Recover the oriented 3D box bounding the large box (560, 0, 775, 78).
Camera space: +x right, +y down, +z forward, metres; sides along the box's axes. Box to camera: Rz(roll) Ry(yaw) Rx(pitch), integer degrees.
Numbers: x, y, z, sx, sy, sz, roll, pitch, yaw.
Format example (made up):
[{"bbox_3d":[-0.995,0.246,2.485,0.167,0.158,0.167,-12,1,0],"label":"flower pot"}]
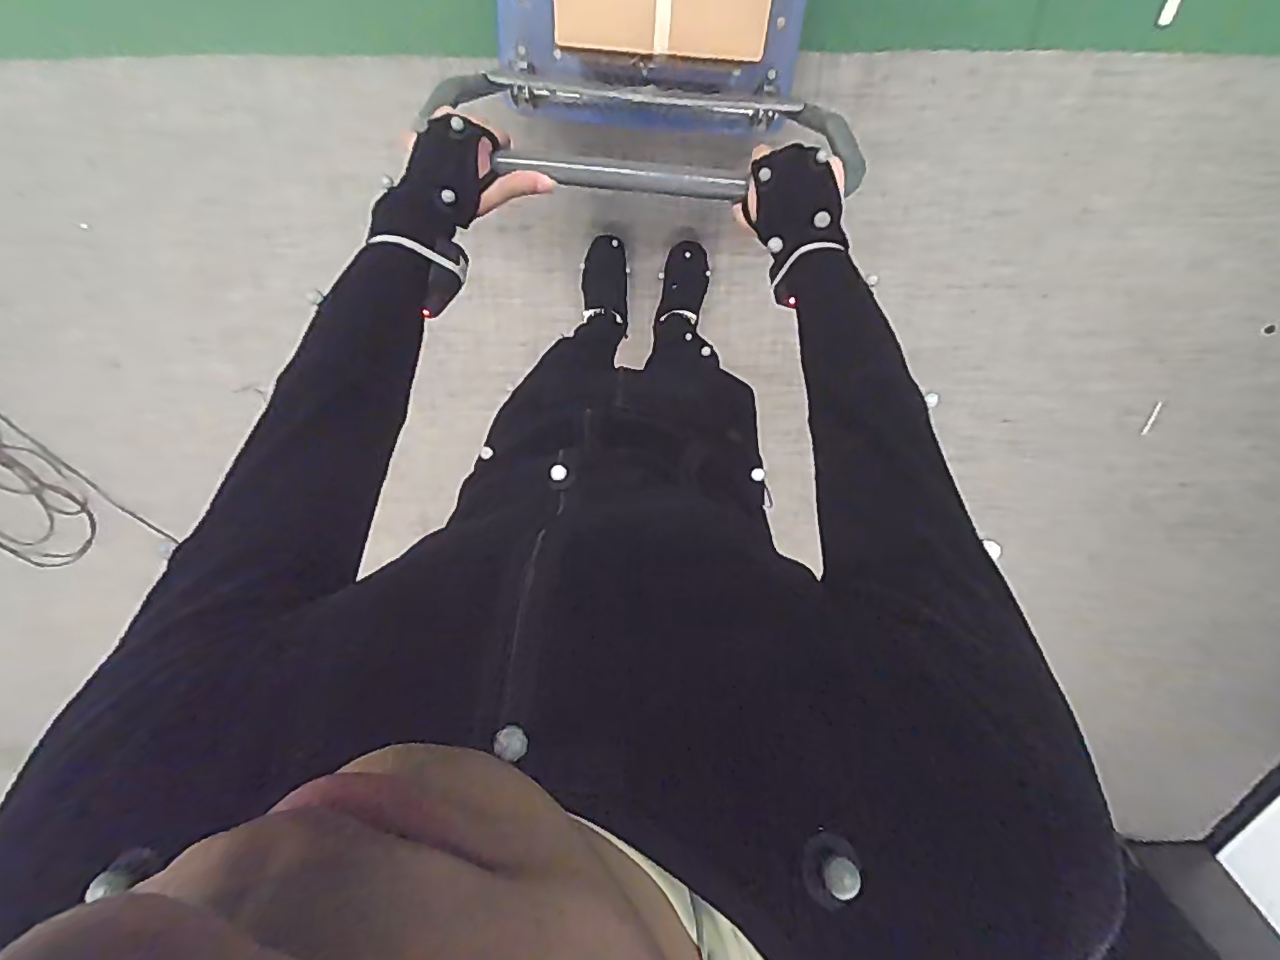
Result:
[{"bbox_3d":[0.050,-0.880,0.829,0.320,0.320,0.408,4,124,-2],"label":"large box"}]
